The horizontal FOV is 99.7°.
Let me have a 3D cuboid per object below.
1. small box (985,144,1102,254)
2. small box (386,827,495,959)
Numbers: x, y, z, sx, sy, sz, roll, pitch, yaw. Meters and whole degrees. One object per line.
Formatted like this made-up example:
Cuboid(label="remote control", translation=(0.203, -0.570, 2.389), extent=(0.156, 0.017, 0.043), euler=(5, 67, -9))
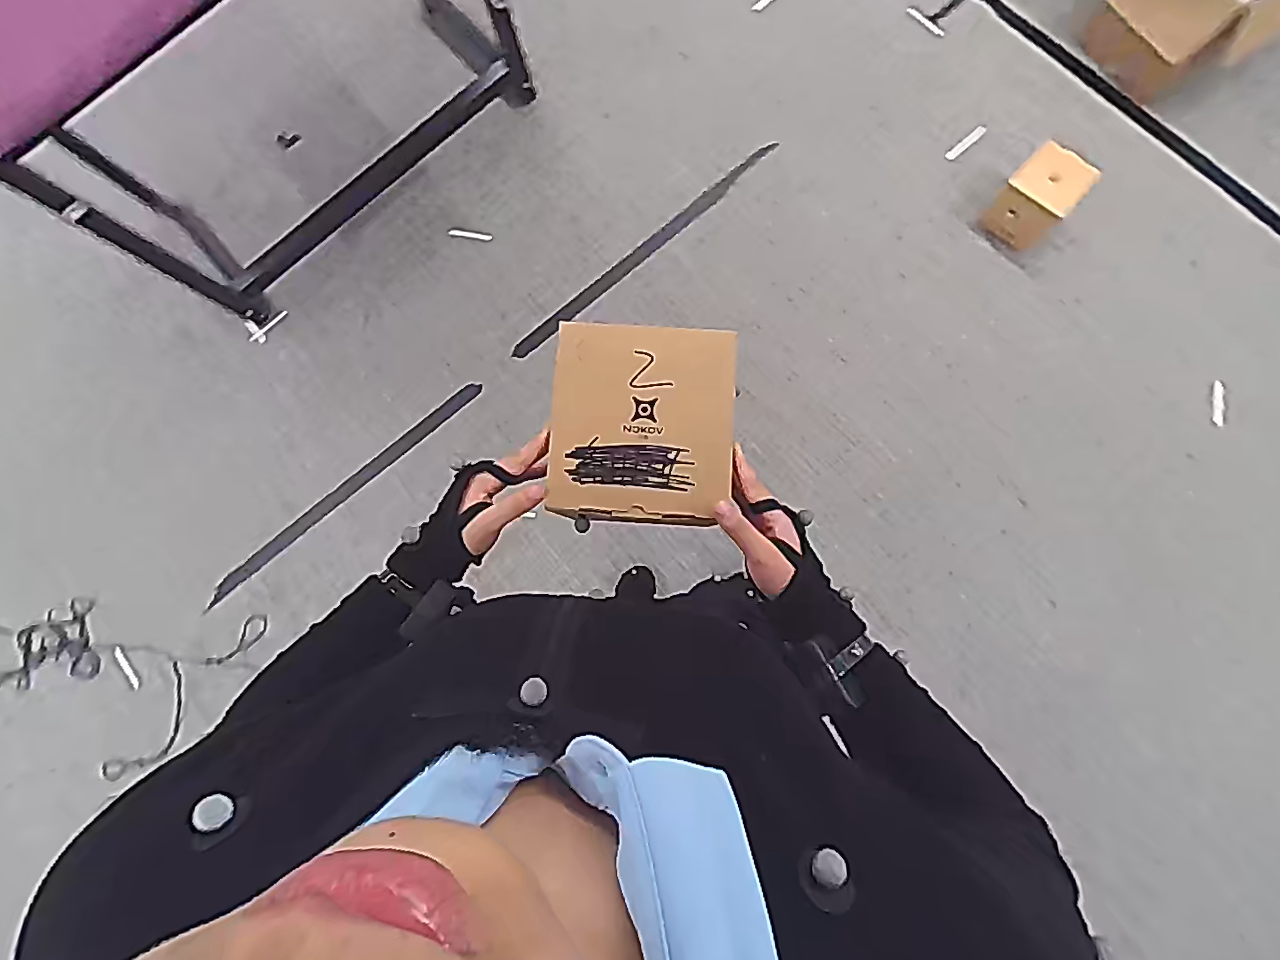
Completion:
Cuboid(label="small box", translation=(1.112, -0.777, 1.513), extent=(0.168, 0.176, 0.179), euler=(42, 85, 10))
Cuboid(label="small box", translation=(-0.478, 1.005, 1.332), extent=(0.179, 0.176, 0.168), euler=(-31, 79, -1))
